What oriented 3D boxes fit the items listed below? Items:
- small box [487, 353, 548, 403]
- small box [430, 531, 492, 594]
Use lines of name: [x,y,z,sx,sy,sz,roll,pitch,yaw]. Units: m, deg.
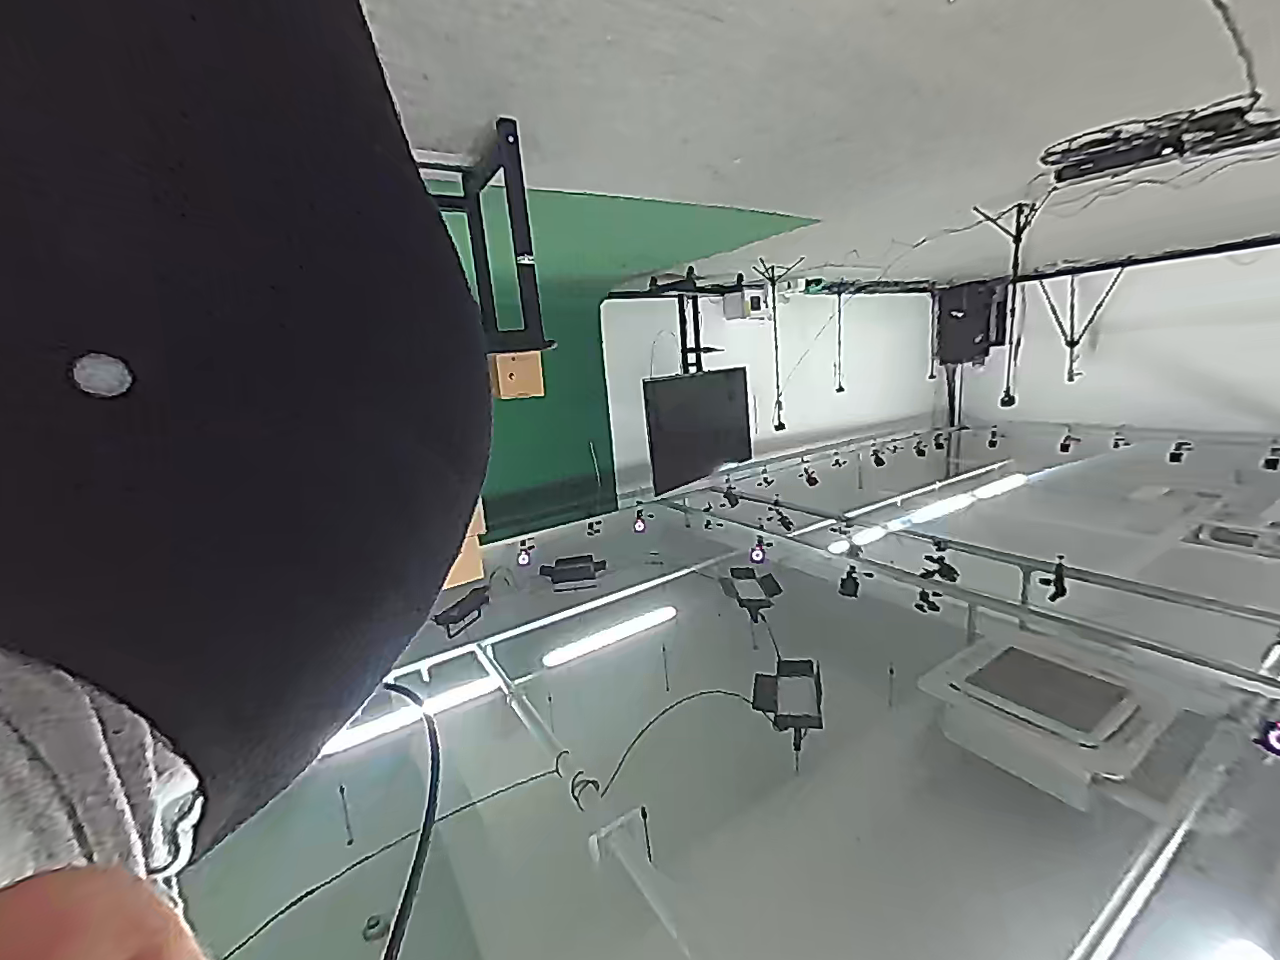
small box: [-0.459,-0.381,2.004,0.168,0.176,0.179,-11,-165,-30]
small box: [-0.666,0.297,1.999,0.168,0.176,0.179,-16,-165,-32]
